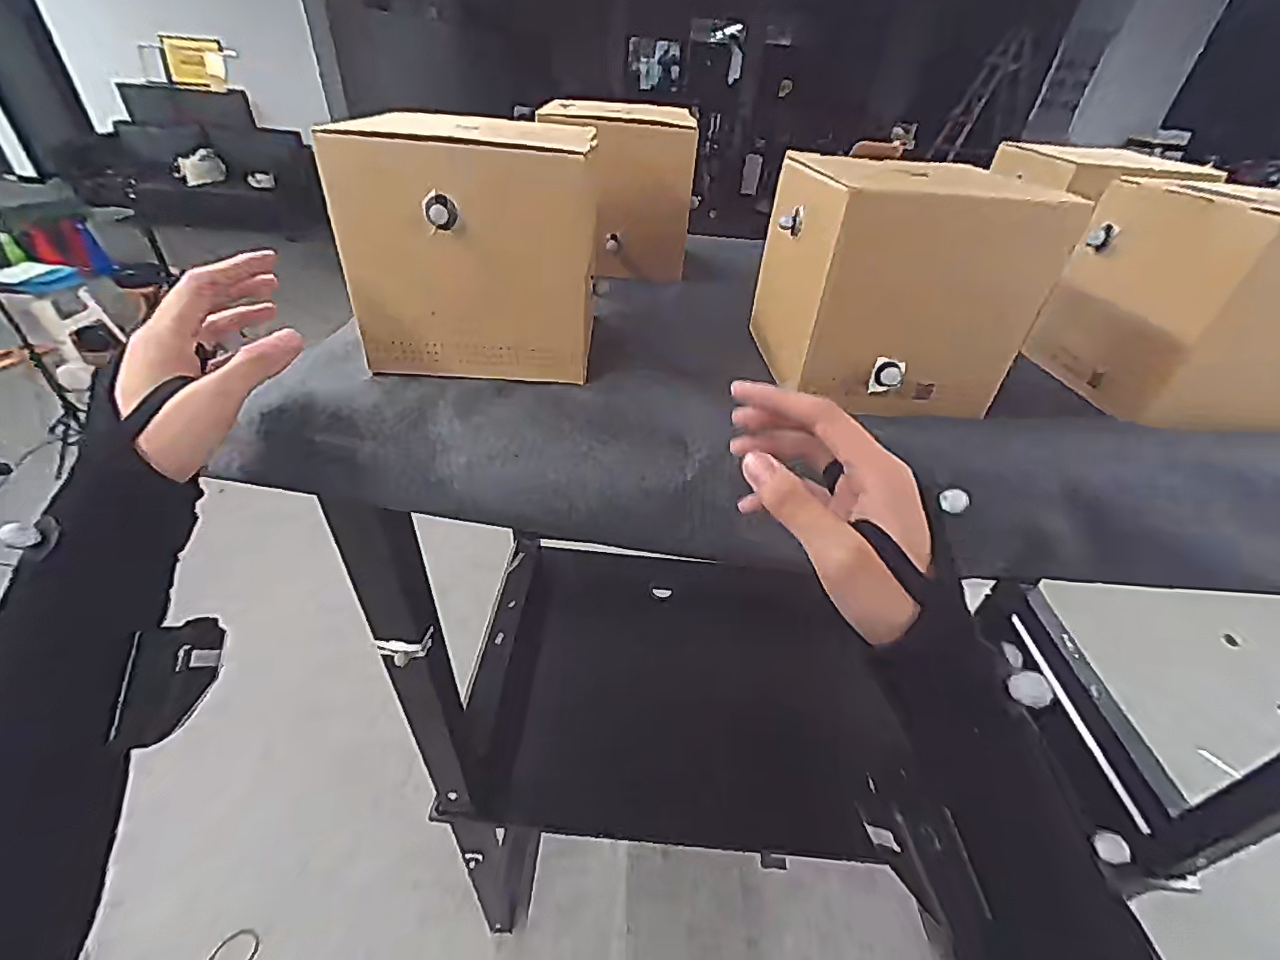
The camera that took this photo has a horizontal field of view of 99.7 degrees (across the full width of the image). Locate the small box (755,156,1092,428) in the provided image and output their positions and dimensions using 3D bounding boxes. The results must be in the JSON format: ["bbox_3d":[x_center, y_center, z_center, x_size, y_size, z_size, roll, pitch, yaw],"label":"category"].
[{"bbox_3d":[0.204,-0.162,0.457,0.168,0.176,0.179,2,37,-3],"label":"small box"}]

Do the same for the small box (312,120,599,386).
[{"bbox_3d":[-0.127,-0.190,0.451,0.179,0.176,0.168,3,37,-4],"label":"small box"}]

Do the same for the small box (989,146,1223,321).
[{"bbox_3d":[0.547,-0.316,0.695,0.168,0.176,0.179,4,38,-1],"label":"small box"}]

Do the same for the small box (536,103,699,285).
[{"bbox_3d":[-0.029,-0.357,0.681,0.179,0.176,0.168,4,38,-3],"label":"small box"}]
